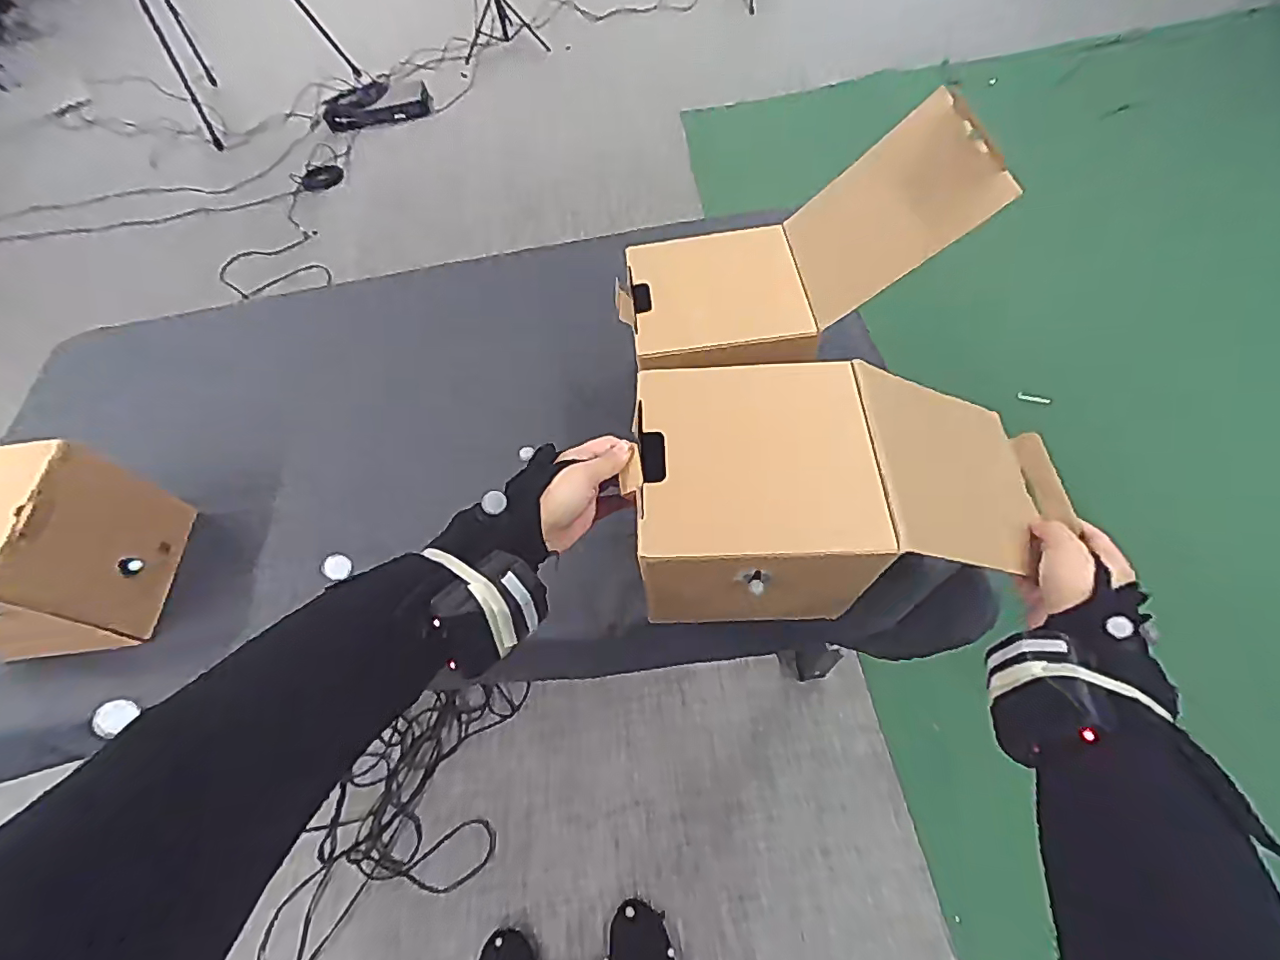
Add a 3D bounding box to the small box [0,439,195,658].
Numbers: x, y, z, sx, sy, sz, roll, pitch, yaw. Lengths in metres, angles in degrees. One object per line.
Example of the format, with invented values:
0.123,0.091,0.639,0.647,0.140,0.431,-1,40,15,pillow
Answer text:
-0.641,0.080,0.572,0.179,0.176,0.168,-8,59,2,small box
